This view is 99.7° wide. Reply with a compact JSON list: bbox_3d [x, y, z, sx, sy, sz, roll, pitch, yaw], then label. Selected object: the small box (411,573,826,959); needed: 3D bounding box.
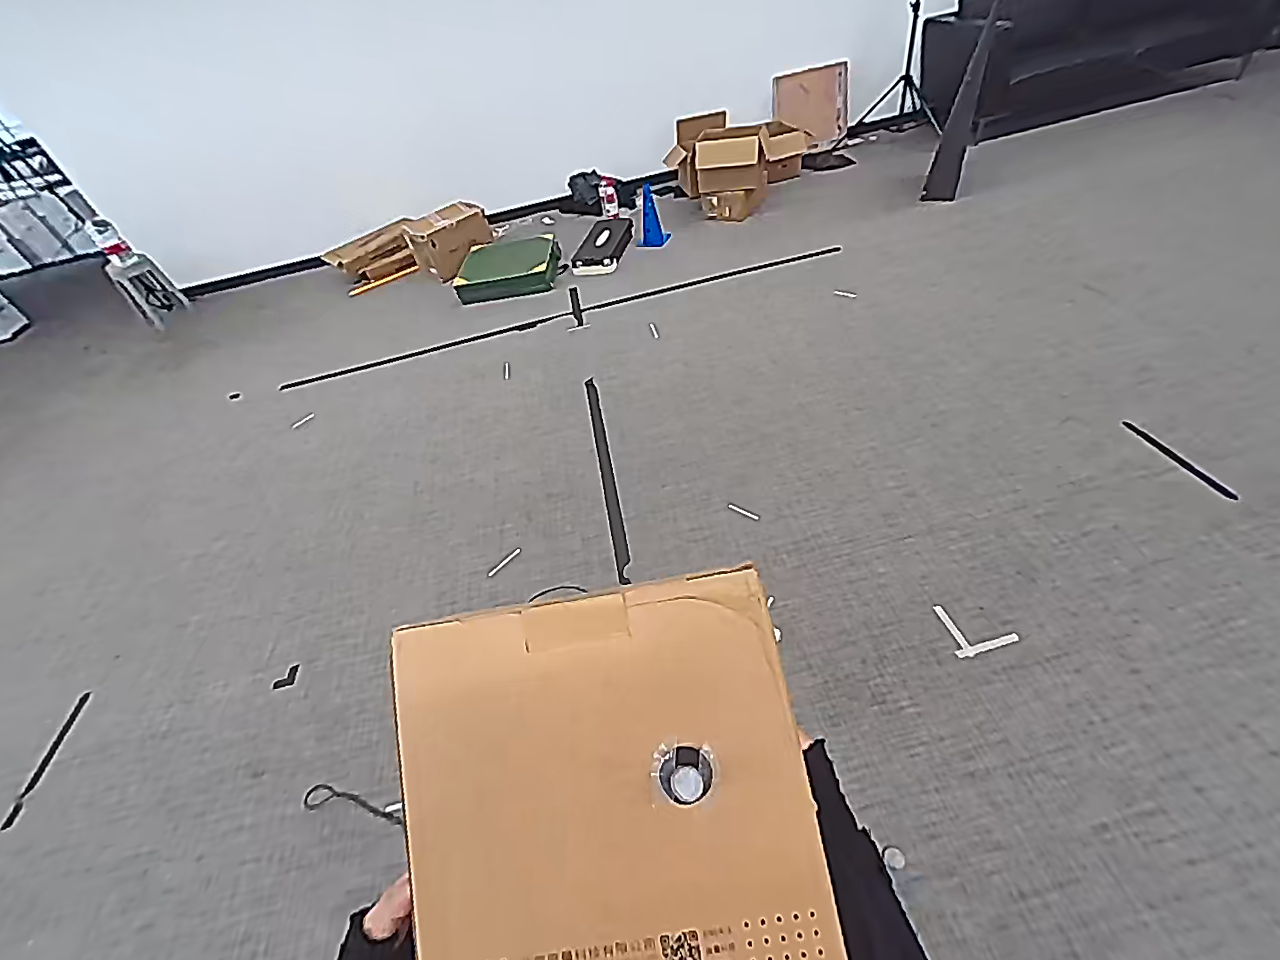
[{"bbox_3d":[-0.006,0.155,0.316,0.168,0.179,0.176,-11,79,3],"label":"small box"}]
